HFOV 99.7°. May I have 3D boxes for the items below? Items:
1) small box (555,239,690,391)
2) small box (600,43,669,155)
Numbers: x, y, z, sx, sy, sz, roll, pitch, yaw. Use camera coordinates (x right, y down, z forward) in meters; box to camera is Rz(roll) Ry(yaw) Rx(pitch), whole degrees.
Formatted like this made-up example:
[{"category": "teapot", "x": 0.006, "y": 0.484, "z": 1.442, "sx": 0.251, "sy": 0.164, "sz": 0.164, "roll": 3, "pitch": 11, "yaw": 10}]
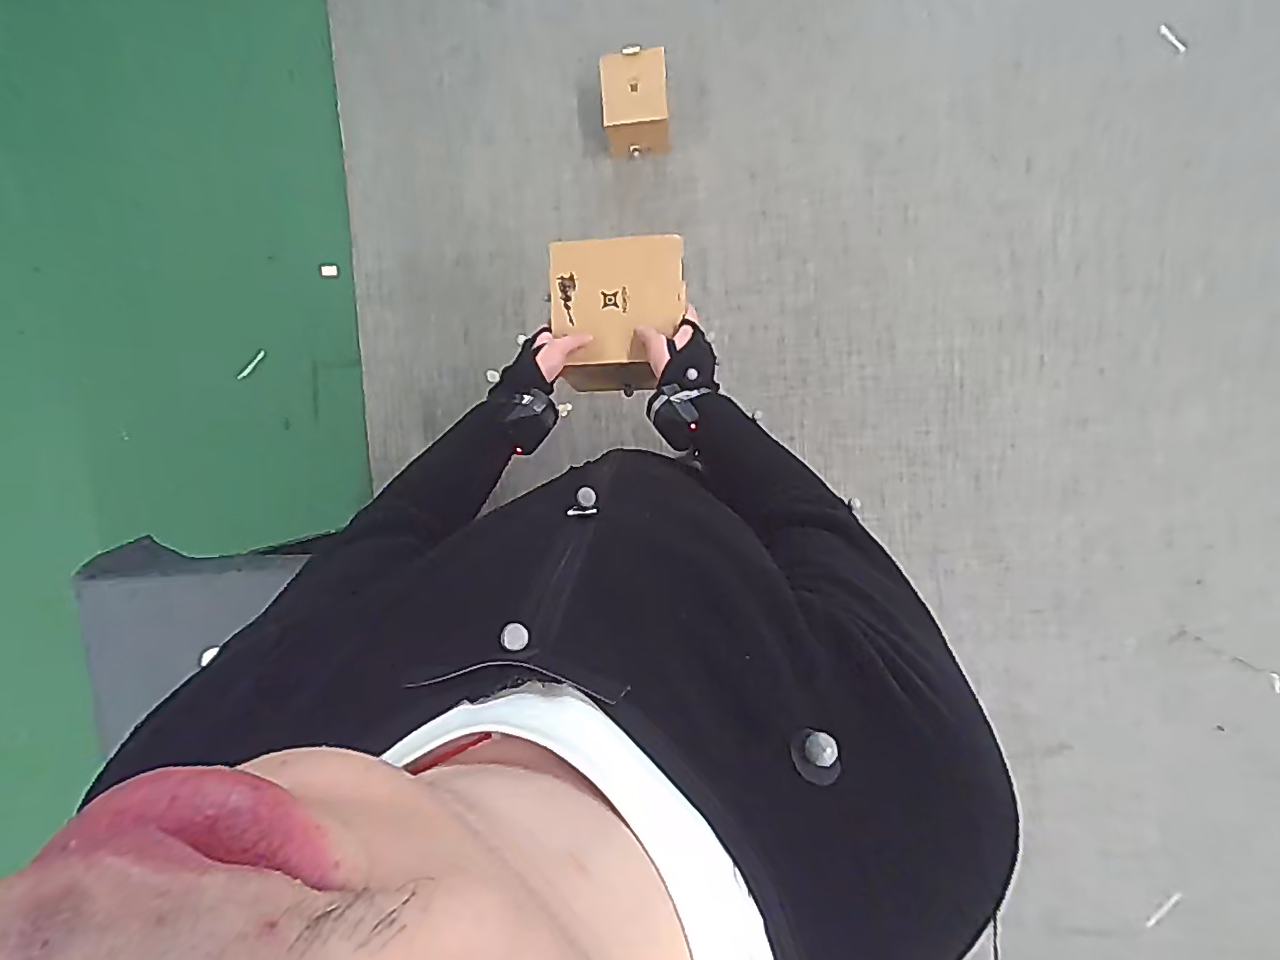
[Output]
[{"category": "small box", "x": -0.021, "y": -0.227, "z": 0.778, "sx": 0.179, "sy": 0.176, "sz": 0.168, "roll": -1, "pitch": 87, "yaw": 3}, {"category": "small box", "x": -0.012, "y": -0.992, "z": 1.421, "sx": 0.168, "sy": 0.176, "sz": 0.179, "roll": -2, "pitch": 93, "yaw": 6}]
